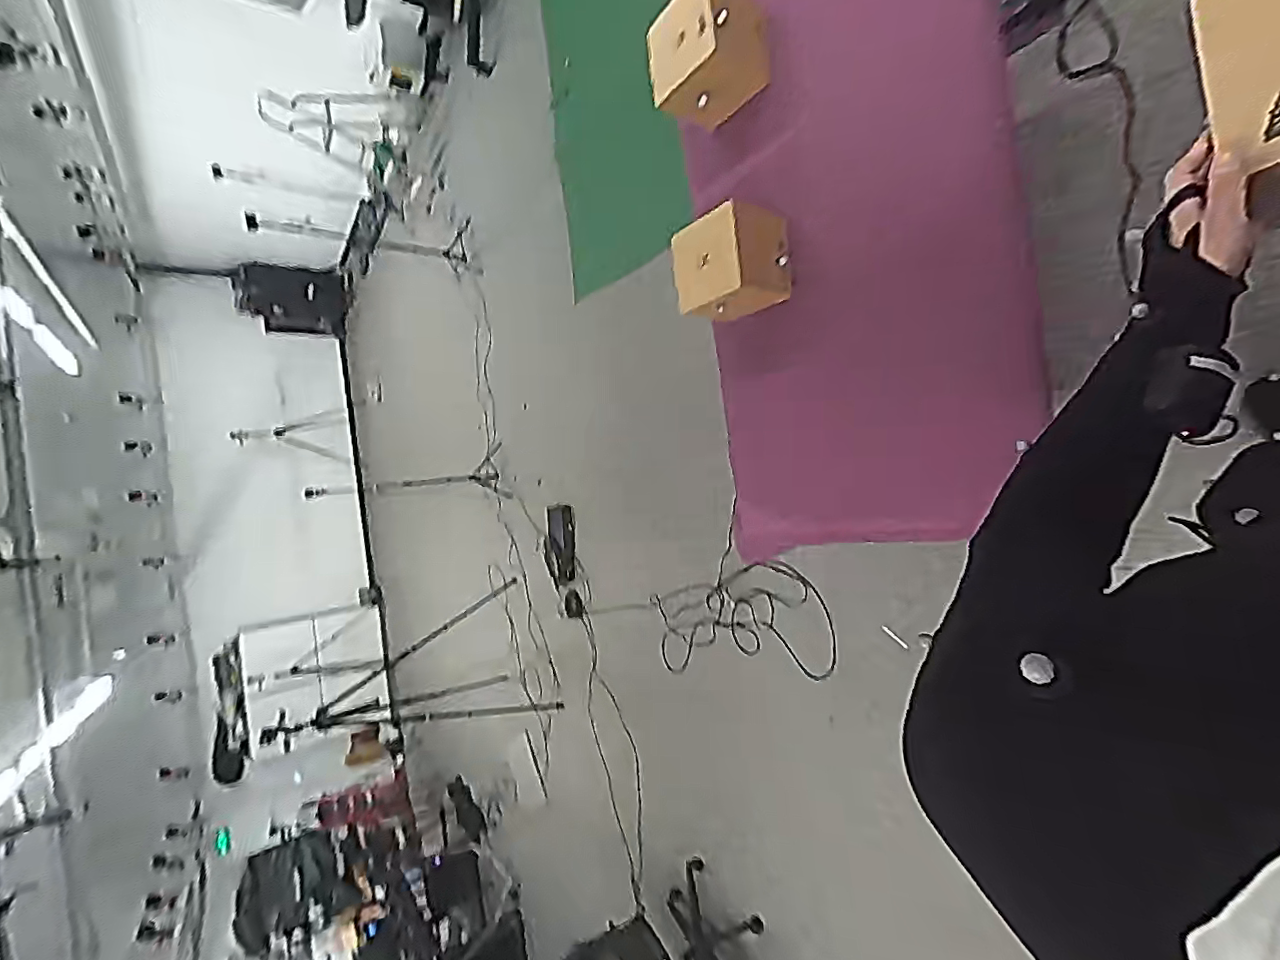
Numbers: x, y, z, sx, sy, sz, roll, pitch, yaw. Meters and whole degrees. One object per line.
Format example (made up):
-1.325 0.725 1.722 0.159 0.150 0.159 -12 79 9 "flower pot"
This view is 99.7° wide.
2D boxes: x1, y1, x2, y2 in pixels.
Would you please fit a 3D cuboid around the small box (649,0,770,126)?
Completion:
0.143 -0.880 1.121 0.179 0.176 0.168 -8 90 53 "small box"

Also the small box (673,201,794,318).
0.193 -0.446 1.125 0.179 0.176 0.168 -5 92 52 "small box"

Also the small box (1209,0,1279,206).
0.600 -0.345 0.430 0.168 0.176 0.179 -10 82 57 "small box"
